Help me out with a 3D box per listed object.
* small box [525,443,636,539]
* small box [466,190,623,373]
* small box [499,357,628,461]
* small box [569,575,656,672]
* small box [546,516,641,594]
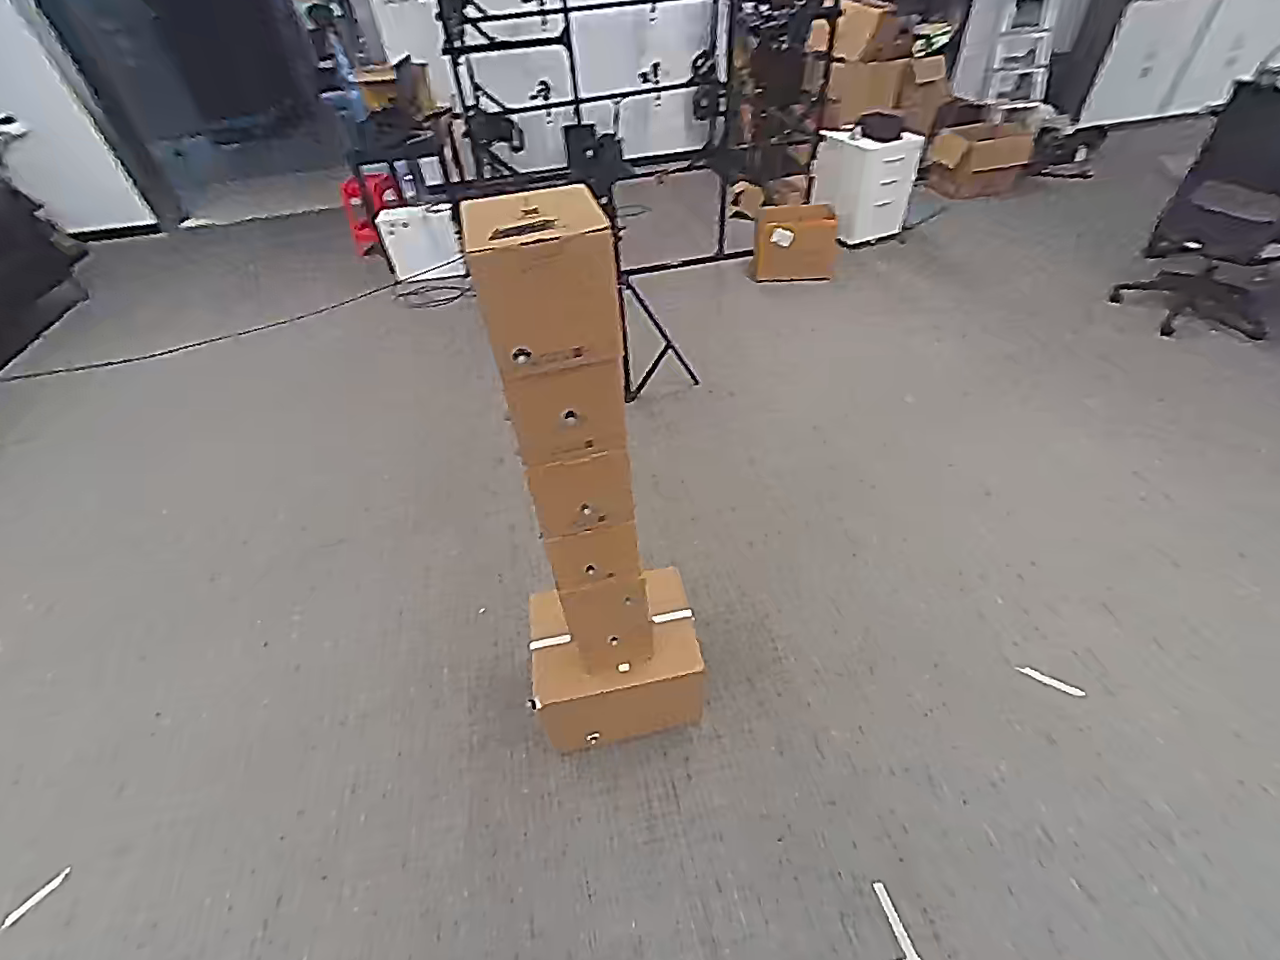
[{"bbox_3d":[-0.108,-0.025,0.948,0.168,0.176,0.179,-13,46,-7],"label":"small box"},{"bbox_3d":[-0.123,-0.256,0.714,0.168,0.176,0.179,-13,45,-8],"label":"small box"},{"bbox_3d":[-0.118,-0.145,0.837,0.168,0.176,0.179,-12,46,-8],"label":"small box"},{"bbox_3d":[-0.065,0.332,1.282,0.179,0.176,0.168,-11,45,-8],"label":"small box"},{"bbox_3d":[-0.096,0.094,1.061,0.168,0.176,0.179,-11,45,-7],"label":"small box"}]
